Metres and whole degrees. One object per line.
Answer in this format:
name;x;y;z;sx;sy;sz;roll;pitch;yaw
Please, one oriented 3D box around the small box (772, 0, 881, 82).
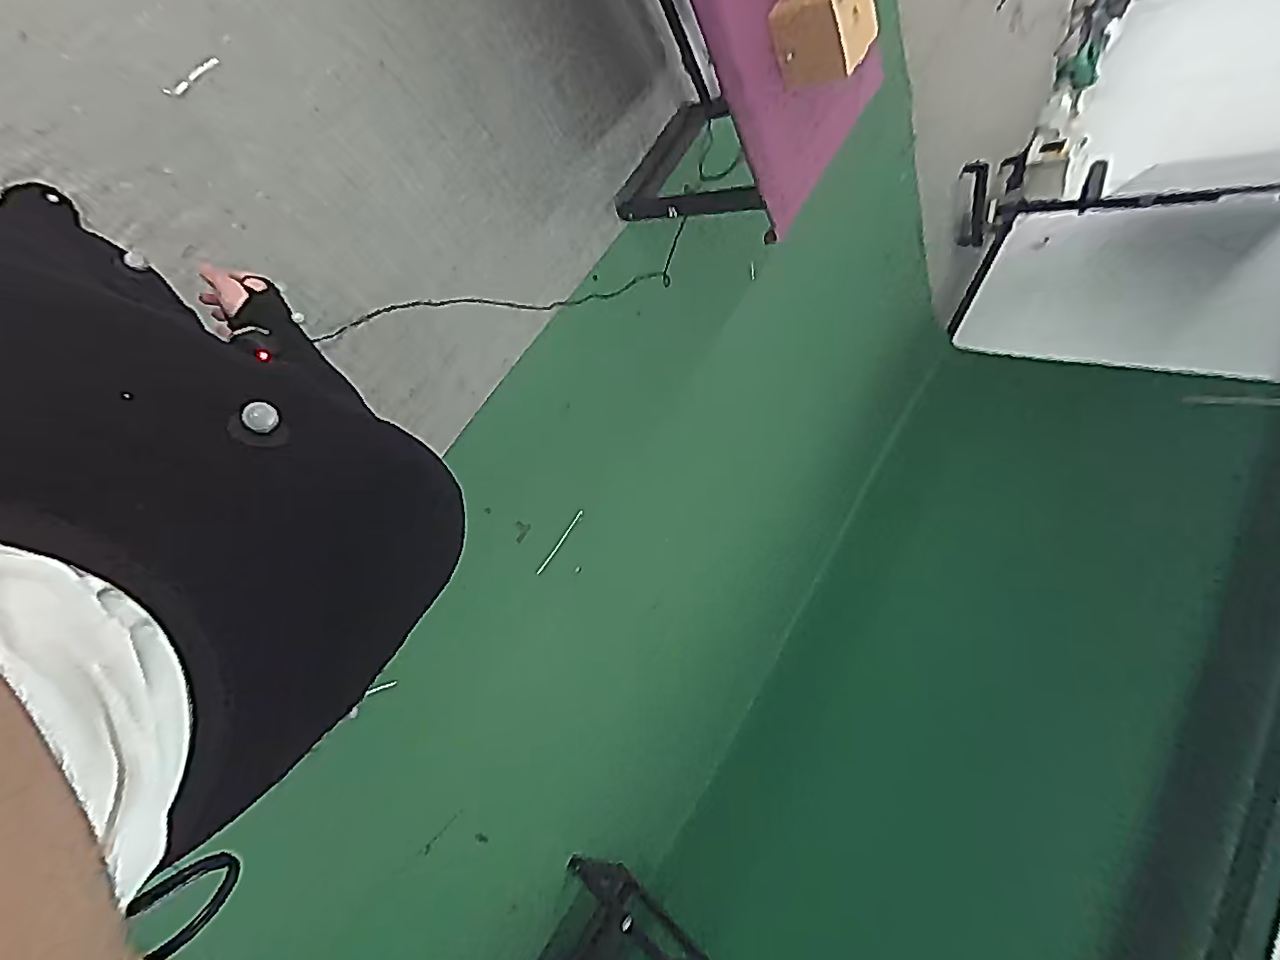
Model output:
small box;0.442;-1.083;1.280;0.168;0.176;0.179;-57;137;-12
